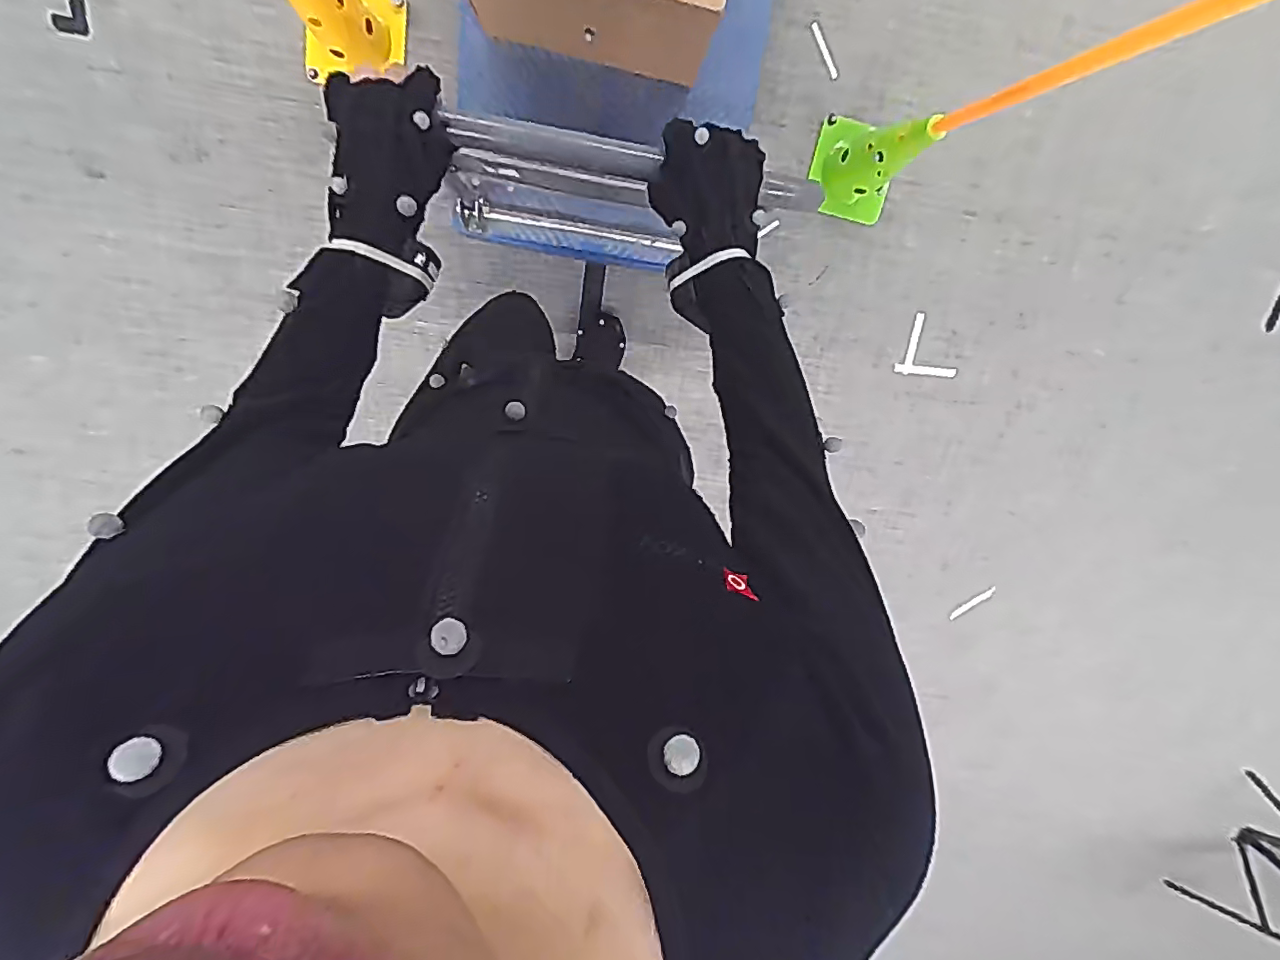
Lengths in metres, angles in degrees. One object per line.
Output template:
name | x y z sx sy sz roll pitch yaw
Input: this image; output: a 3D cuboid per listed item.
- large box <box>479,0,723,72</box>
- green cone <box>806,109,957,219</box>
large box | -0.054 -0.911 0.851 0.408 0.320 0.320 9 109 -6
green cone | 0.522 -0.689 1.121 0.202 0.368 0.200 10 108 -9
